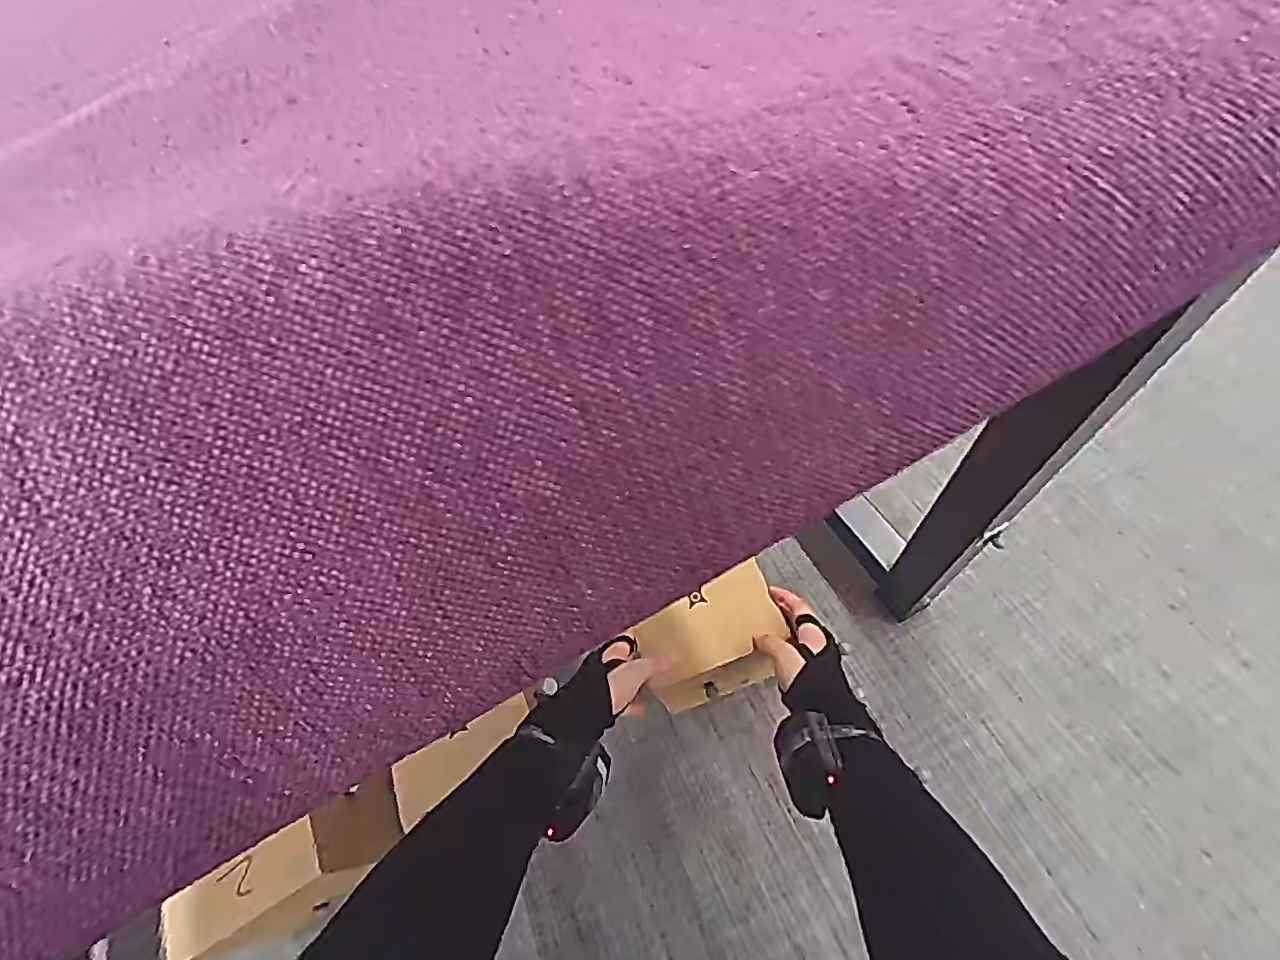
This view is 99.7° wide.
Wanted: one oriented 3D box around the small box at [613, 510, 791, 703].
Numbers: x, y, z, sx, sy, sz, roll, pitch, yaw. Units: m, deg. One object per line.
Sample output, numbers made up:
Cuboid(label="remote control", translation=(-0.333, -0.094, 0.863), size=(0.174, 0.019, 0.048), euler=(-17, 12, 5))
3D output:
Cuboid(label="small box", translation=(0.083, 0.173, 0.700), size=(0.168, 0.176, 0.179), euler=(-21, 56, 0))

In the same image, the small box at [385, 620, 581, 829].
Cuboid(label="small box", translation=(-0.191, 0.309, 0.687), size=(0.168, 0.176, 0.179), euler=(-25, 58, -5))
